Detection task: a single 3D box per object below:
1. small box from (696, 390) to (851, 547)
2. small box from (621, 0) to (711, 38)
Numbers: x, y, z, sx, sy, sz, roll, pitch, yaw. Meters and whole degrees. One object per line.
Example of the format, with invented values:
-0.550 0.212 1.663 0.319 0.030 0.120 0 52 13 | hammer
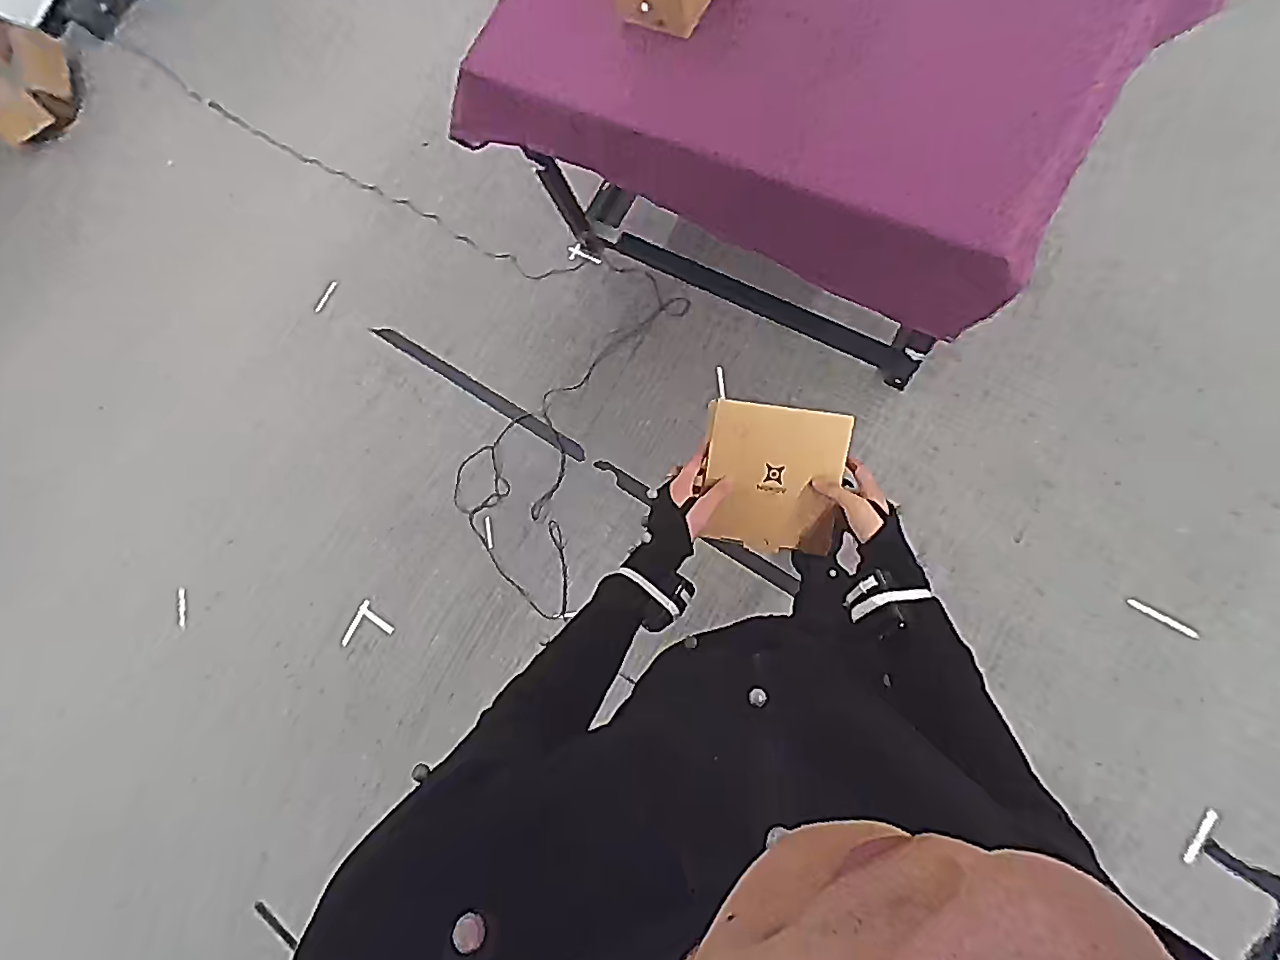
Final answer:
0.168 -0.023 0.735 0.168 0.176 0.179 8 99 5 | small box
0.054 -1.007 1.029 0.168 0.176 0.179 30 89 17 | small box
